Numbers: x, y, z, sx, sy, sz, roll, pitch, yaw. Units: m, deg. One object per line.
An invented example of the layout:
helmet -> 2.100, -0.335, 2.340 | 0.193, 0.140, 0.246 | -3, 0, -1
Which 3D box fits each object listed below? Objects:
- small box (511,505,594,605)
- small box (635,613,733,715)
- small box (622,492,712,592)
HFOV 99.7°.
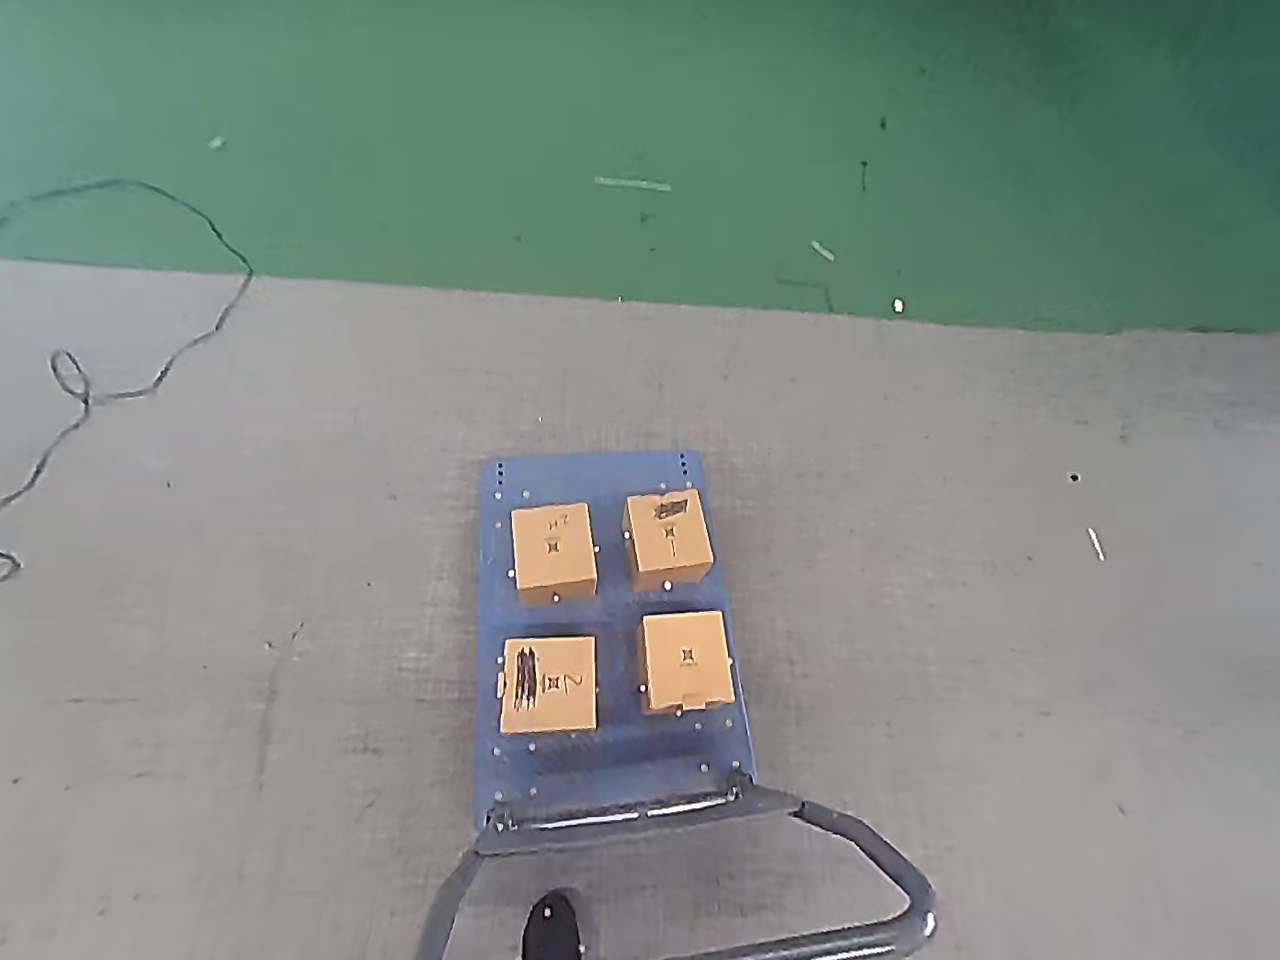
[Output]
small box -> -0.194, 0.174, 1.209 | 0.168, 0.176, 0.179 | -5, 64, -10
small box -> 0.082, 0.390, 1.137 | 0.168, 0.176, 0.179 | -2, 64, -8
small box -> 0.054, 0.146, 1.252 | 0.168, 0.176, 0.179 | -6, 66, -9
